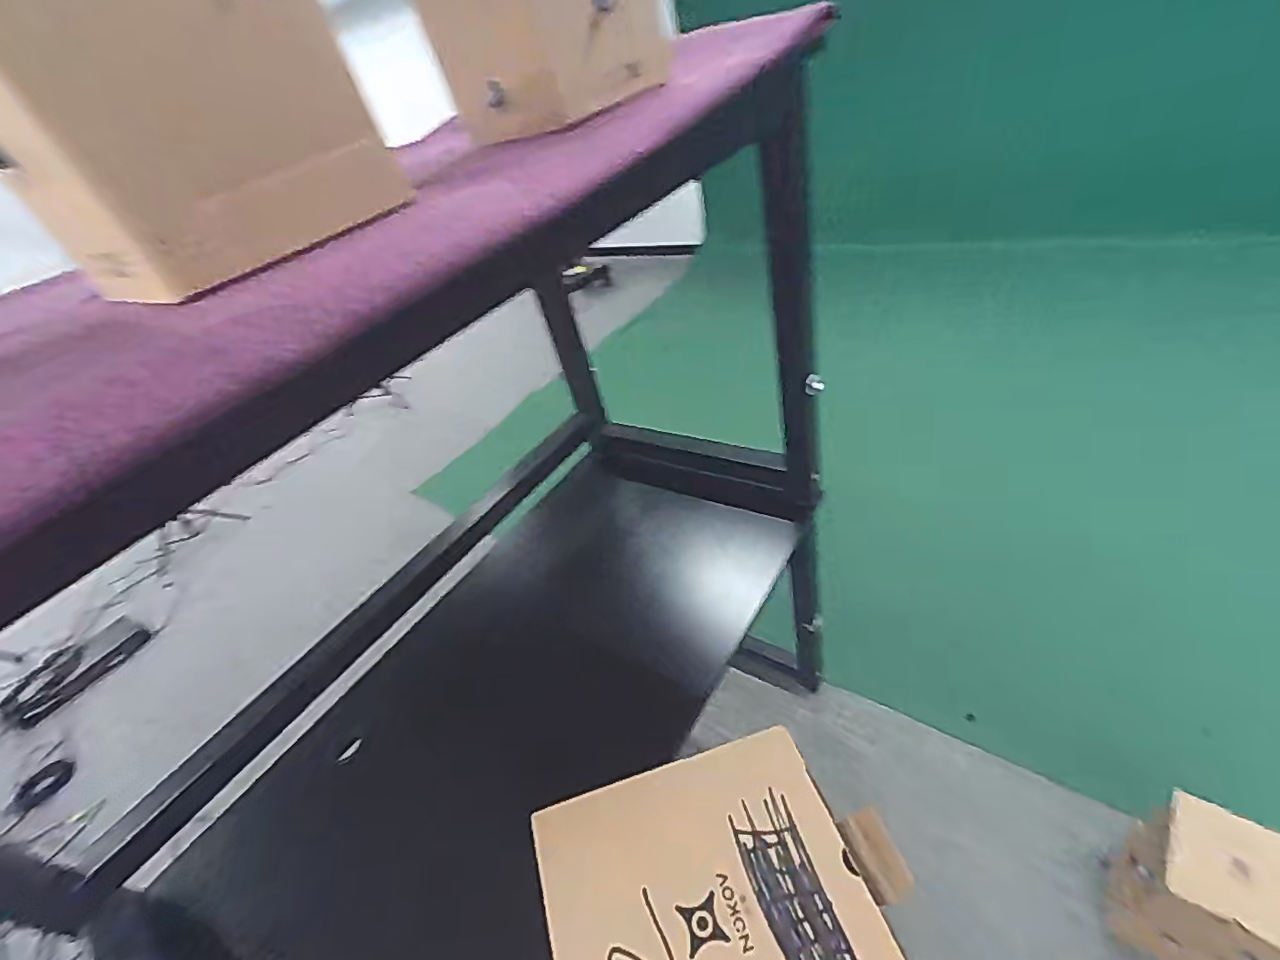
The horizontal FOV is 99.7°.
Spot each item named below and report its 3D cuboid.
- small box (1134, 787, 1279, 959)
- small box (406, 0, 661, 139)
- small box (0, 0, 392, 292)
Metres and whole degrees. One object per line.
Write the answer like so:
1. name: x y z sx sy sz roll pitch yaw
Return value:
1. small box: 0.948 0.658 0.886 0.168 0.176 0.179 18 51 34
2. small box: -0.104 -0.462 0.531 0.179 0.176 0.168 21 54 39
3. small box: -0.299 -0.229 0.334 0.168 0.176 0.179 14 48 35
